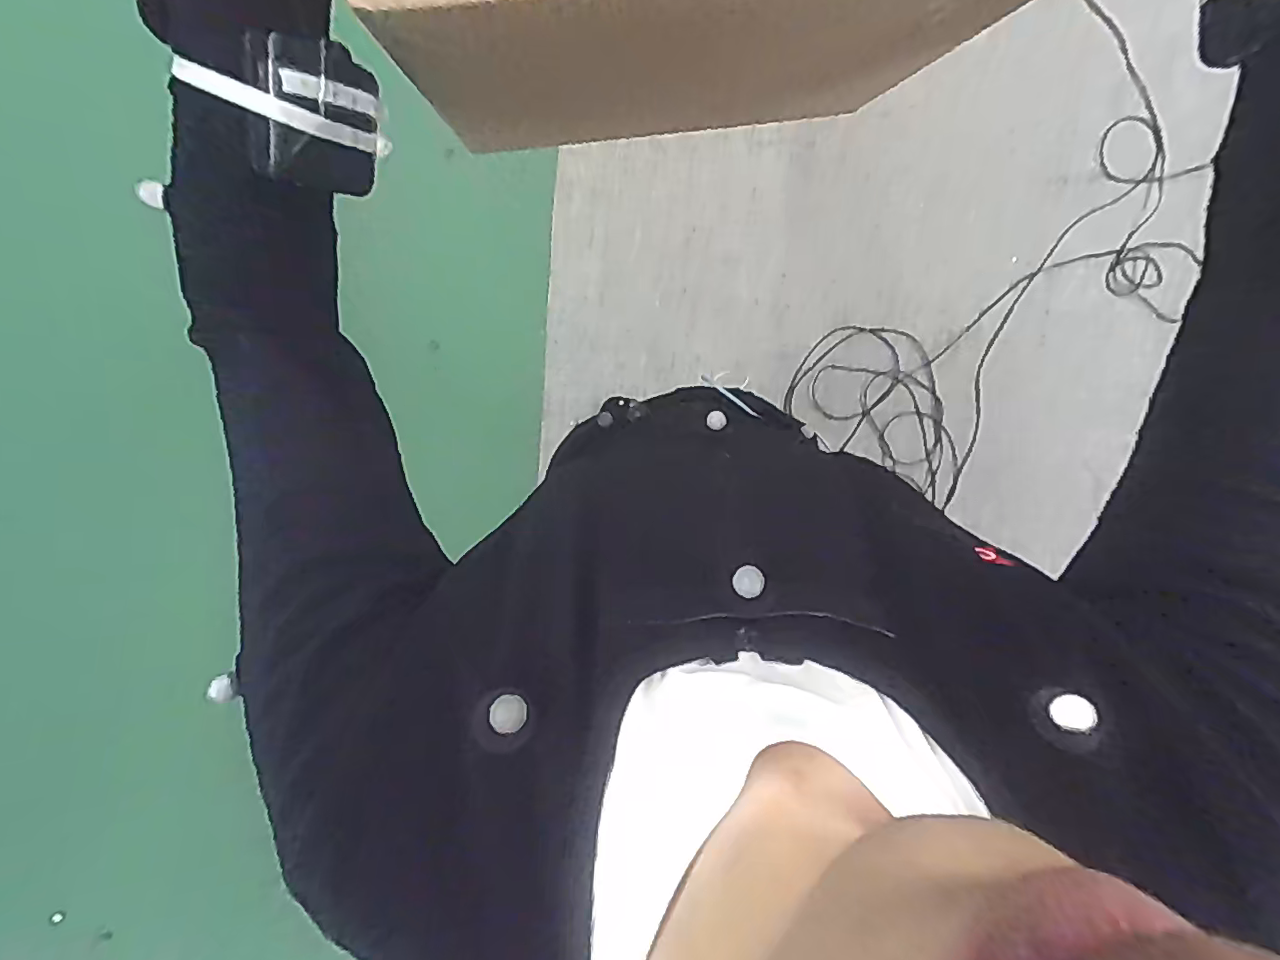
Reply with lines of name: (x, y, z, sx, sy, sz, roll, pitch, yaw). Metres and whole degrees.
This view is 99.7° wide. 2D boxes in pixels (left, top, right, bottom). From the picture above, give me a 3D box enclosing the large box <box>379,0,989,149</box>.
large box: (0.022, -0.456, 0.366, 0.408, 0.320, 0.320, -9, 111, -4)
